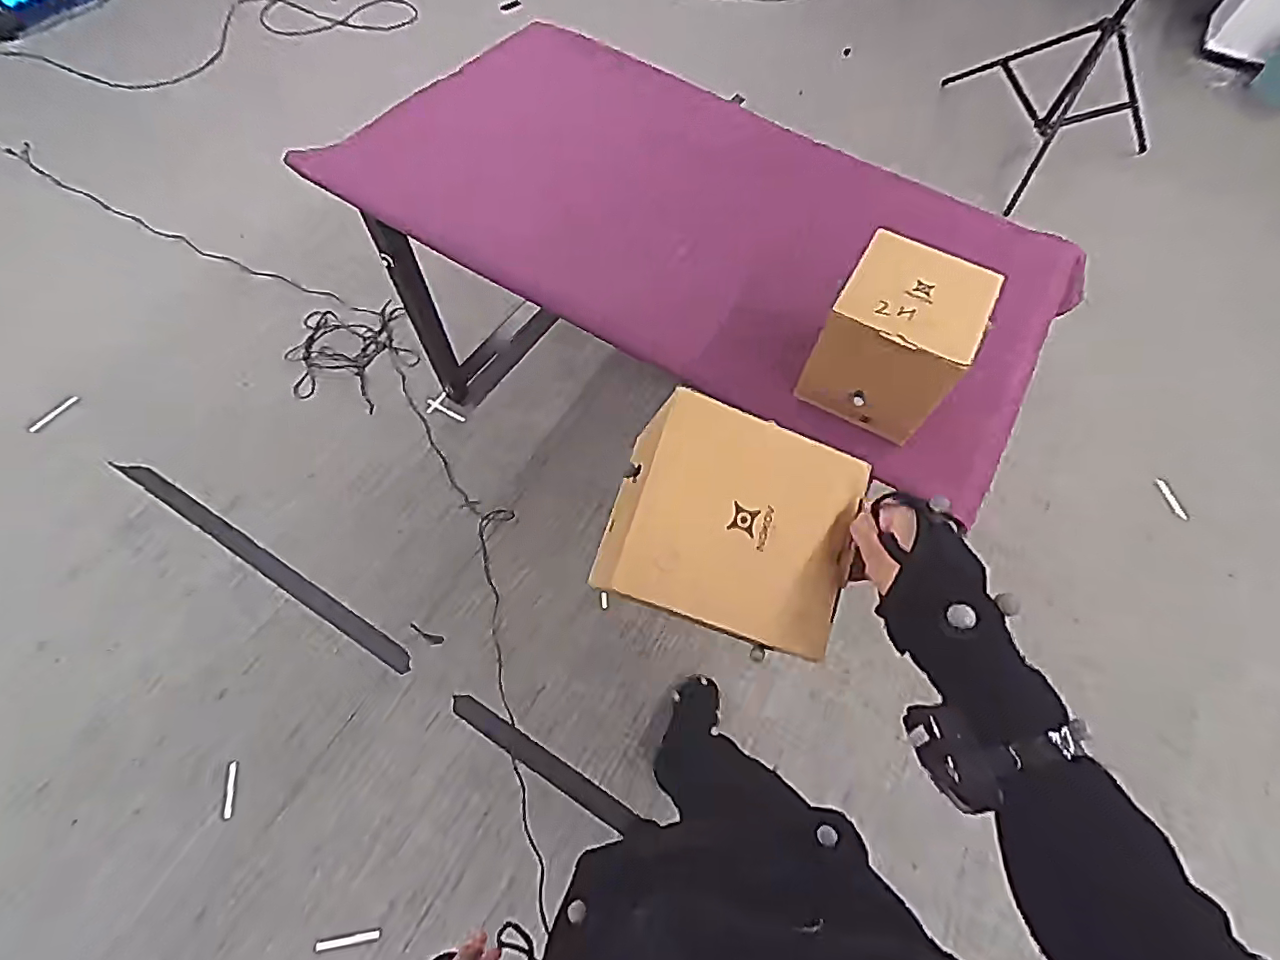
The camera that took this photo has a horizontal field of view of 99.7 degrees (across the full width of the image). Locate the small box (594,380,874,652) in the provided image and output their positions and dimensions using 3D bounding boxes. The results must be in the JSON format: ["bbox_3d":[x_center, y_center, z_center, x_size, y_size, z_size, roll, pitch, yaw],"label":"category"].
[{"bbox_3d":[0.069,0.040,0.487,0.179,0.176,0.168,21,77,-8],"label":"small box"}]

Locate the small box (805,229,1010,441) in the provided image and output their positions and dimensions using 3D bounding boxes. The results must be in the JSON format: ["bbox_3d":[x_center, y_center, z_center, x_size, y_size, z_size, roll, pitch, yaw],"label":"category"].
[{"bbox_3d":[0.342,-0.187,0.719,0.168,0.176,0.179,28,65,12],"label":"small box"}]
